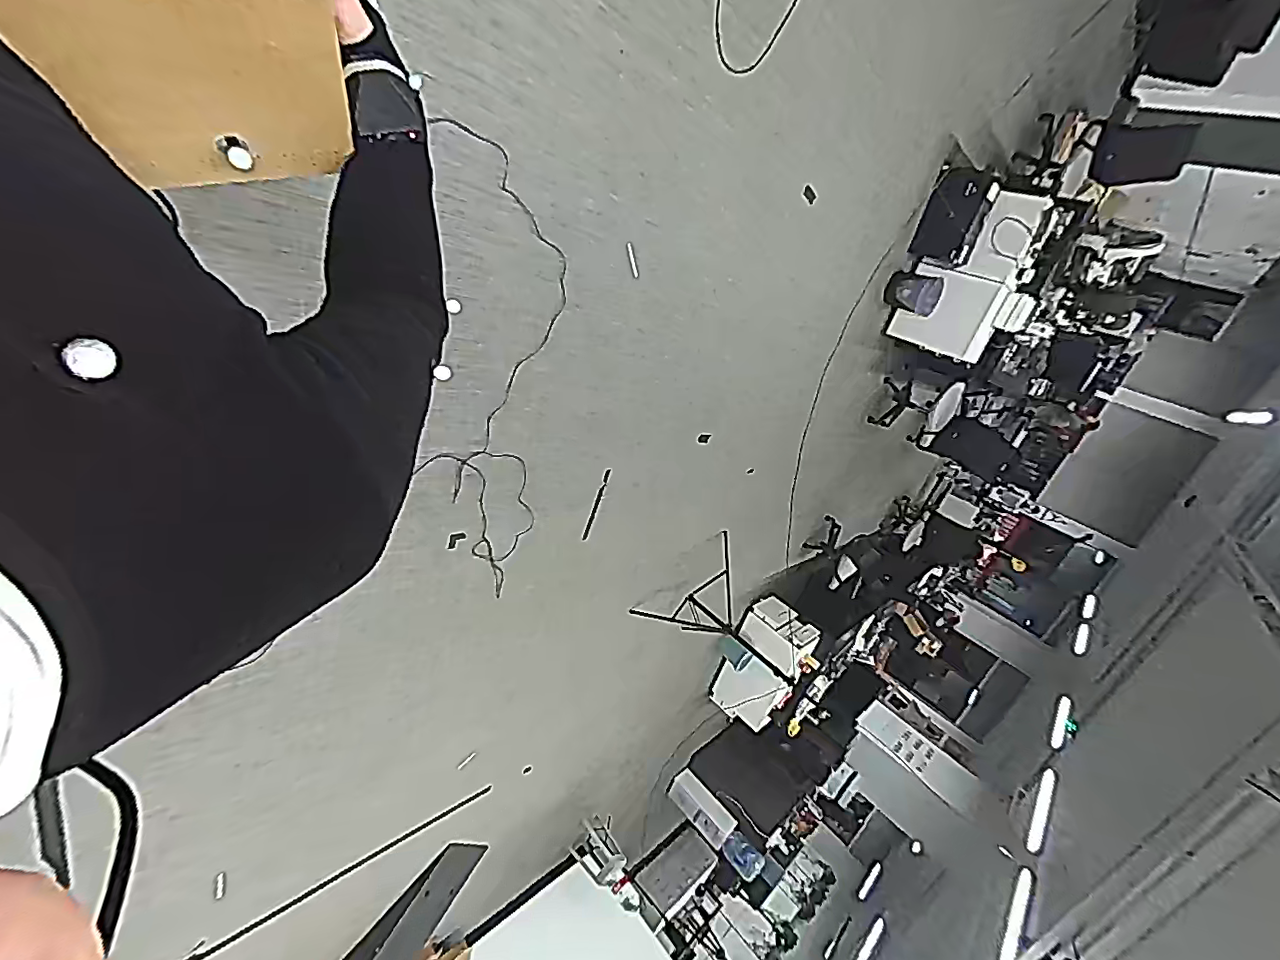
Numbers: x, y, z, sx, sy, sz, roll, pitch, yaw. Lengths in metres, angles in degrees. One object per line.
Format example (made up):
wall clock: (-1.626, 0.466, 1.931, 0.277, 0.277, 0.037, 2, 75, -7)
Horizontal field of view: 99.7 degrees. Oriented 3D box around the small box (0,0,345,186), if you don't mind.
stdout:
small box: (-0.334, -0.346, 0.394, 0.179, 0.168, 0.176, -21, 179, -25)
